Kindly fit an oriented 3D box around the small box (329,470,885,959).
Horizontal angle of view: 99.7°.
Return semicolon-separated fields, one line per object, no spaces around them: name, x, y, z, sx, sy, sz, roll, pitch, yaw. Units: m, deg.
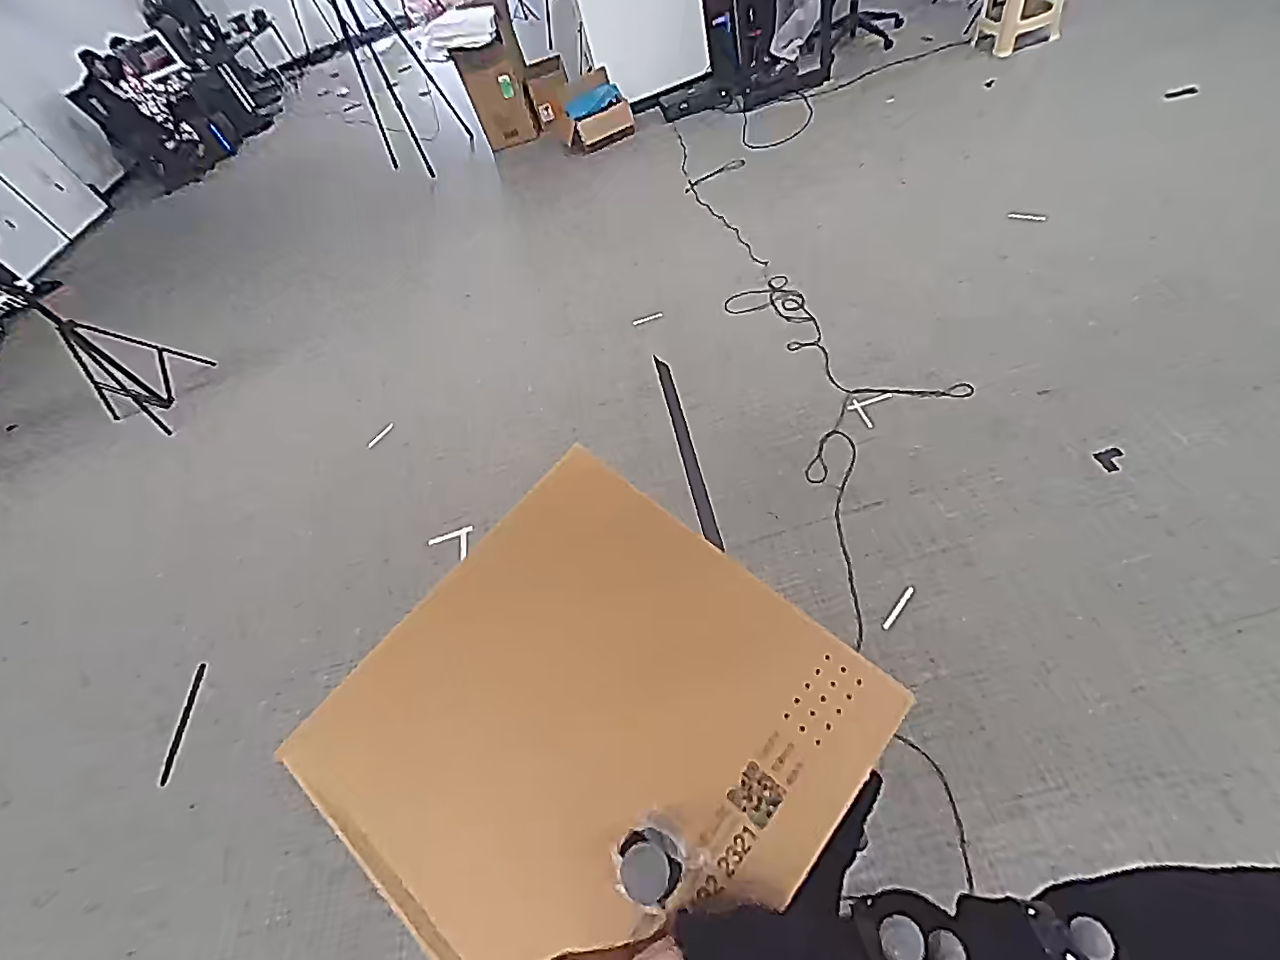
small box;-0.006;0.132;0.287;0.176;0.179;0.168;36;74;20
